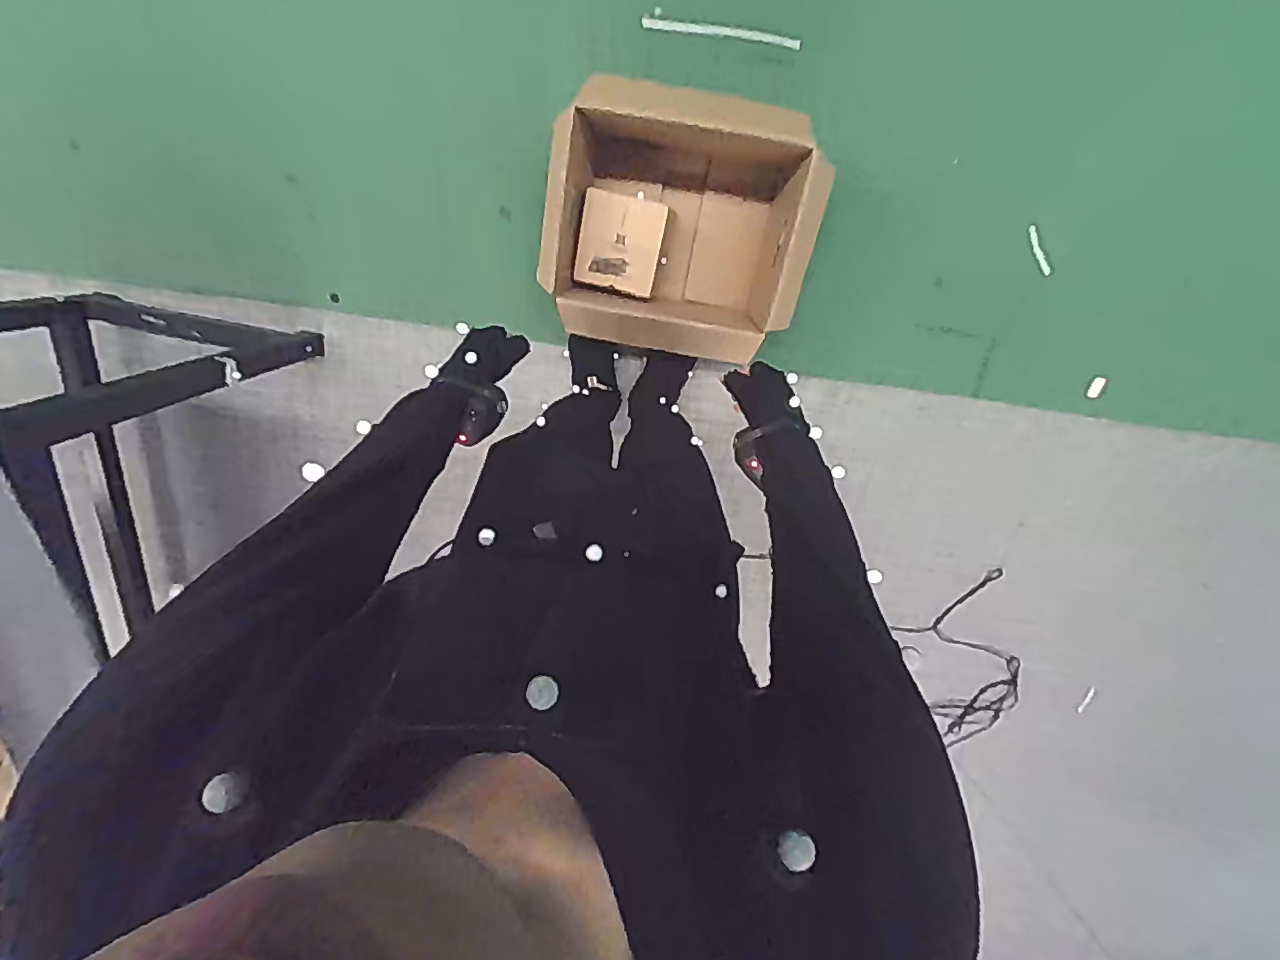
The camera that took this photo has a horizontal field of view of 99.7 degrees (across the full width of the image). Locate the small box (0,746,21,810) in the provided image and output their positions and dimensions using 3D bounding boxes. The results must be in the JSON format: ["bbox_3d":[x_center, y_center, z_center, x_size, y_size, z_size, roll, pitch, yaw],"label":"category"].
[{"bbox_3d":[-1.231,0.541,0.905,0.179,0.176,0.168,7,114,1],"label":"small box"}]
